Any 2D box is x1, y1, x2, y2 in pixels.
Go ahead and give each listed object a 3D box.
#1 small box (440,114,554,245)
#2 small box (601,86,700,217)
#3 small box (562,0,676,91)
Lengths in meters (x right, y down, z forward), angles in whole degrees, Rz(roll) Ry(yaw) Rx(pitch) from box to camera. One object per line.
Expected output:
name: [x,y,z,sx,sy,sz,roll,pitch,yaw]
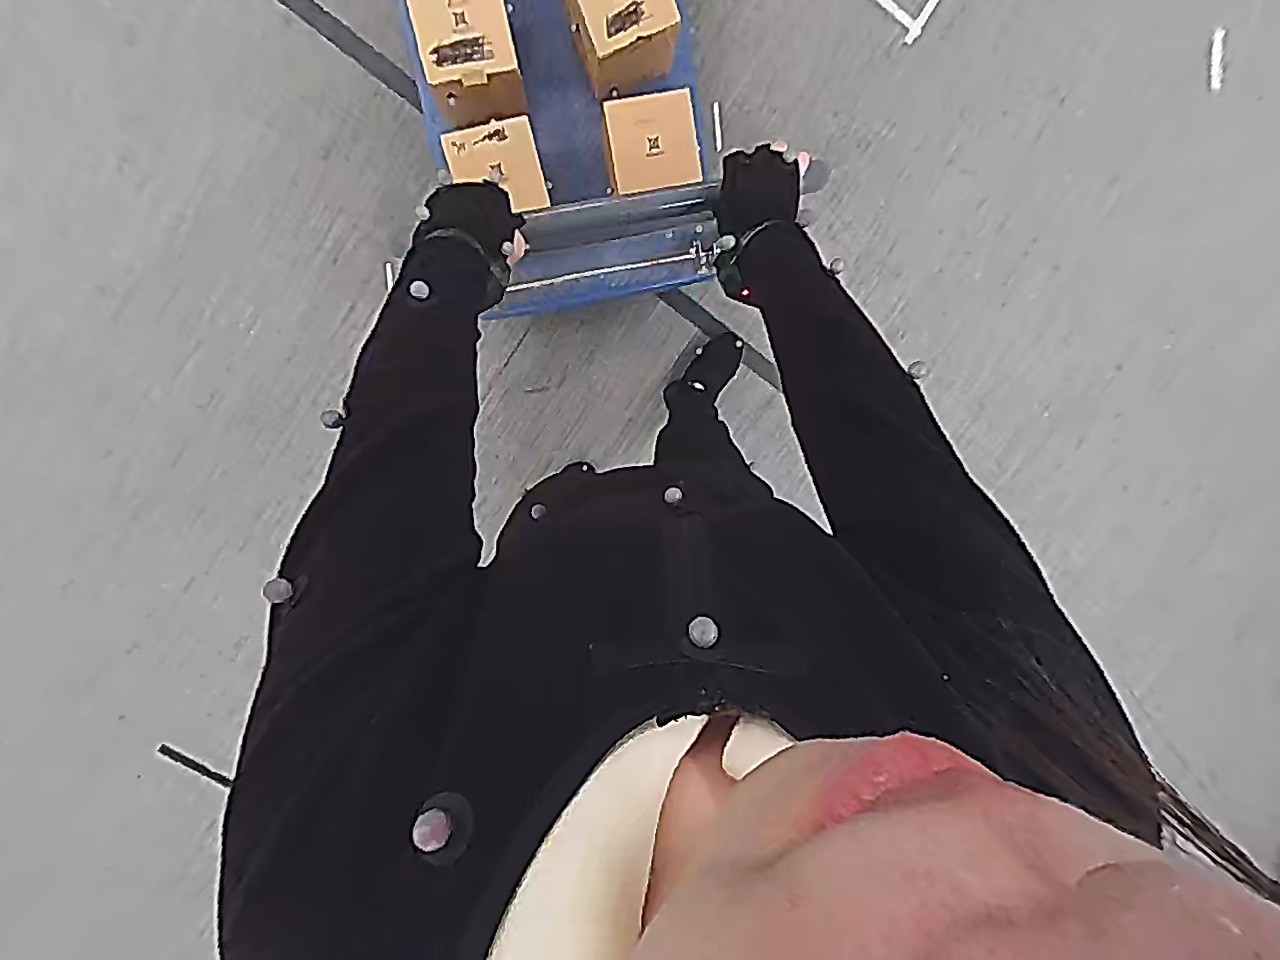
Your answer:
small box: [-0.273,-0.583,1.078,0.168,0.176,0.179,-15,103,-3]
small box: [0.017,-0.650,1.095,0.168,0.176,0.179,-11,101,-4]
small box: [-0.045,-0.894,1.040,0.168,0.176,0.179,-23,102,-1]
